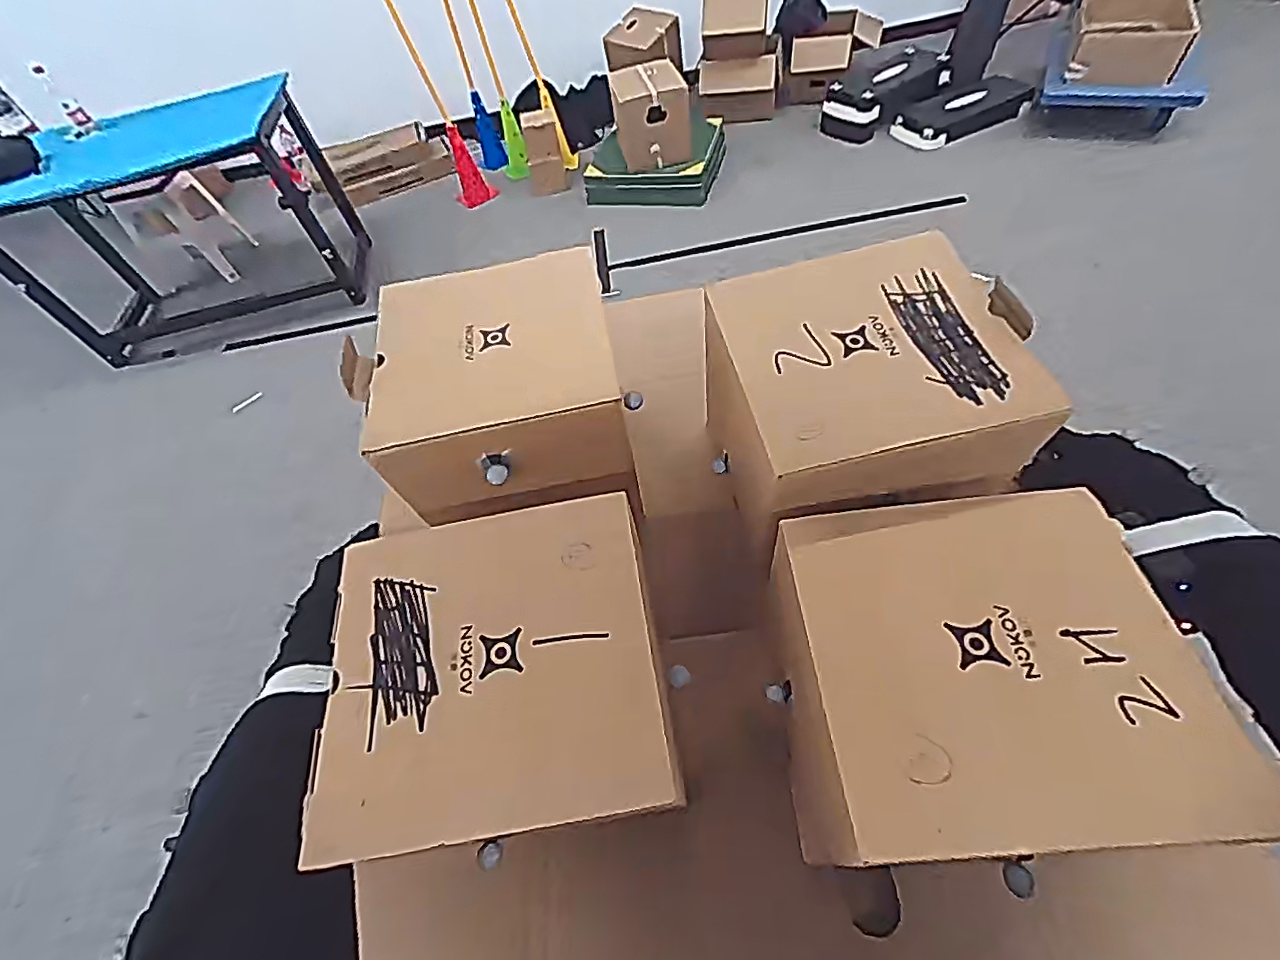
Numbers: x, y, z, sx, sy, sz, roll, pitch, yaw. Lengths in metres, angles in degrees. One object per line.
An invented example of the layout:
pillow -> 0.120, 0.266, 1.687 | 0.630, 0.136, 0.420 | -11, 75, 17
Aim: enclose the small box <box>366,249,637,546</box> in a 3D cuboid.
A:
small box -> -0.102, -0.062, 0.467 | 0.179, 0.176, 0.168 | -13, 58, 1
